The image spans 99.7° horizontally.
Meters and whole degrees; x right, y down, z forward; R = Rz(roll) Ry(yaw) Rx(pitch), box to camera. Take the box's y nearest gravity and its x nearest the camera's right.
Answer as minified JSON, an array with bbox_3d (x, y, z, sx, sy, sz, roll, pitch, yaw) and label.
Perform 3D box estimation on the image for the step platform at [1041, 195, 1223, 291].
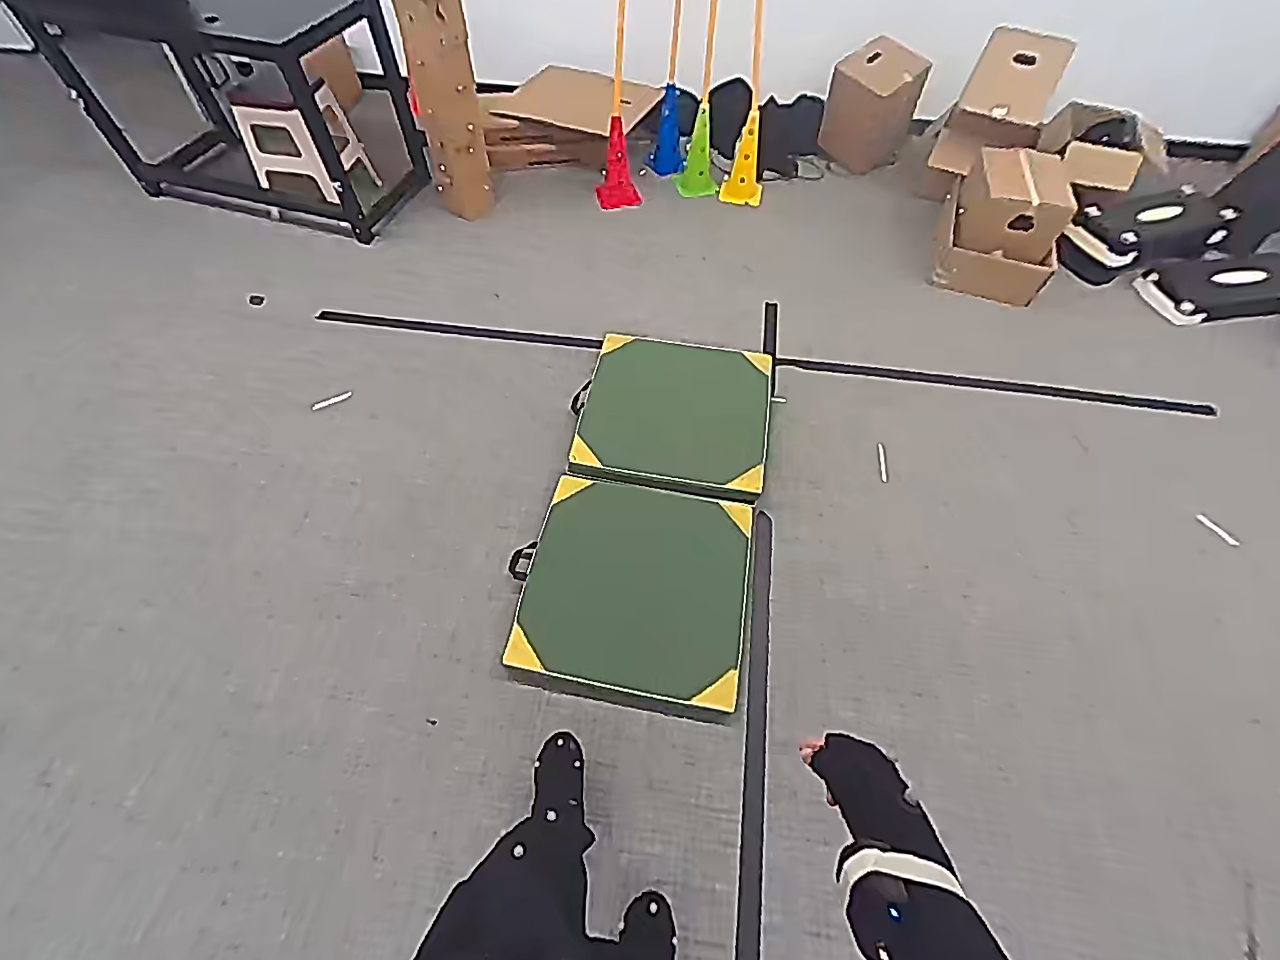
[{"bbox_3d":[2.171,-1.055,2.390,0.684,0.204,0.286,-17,59,-12],"label":"step platform"}]
